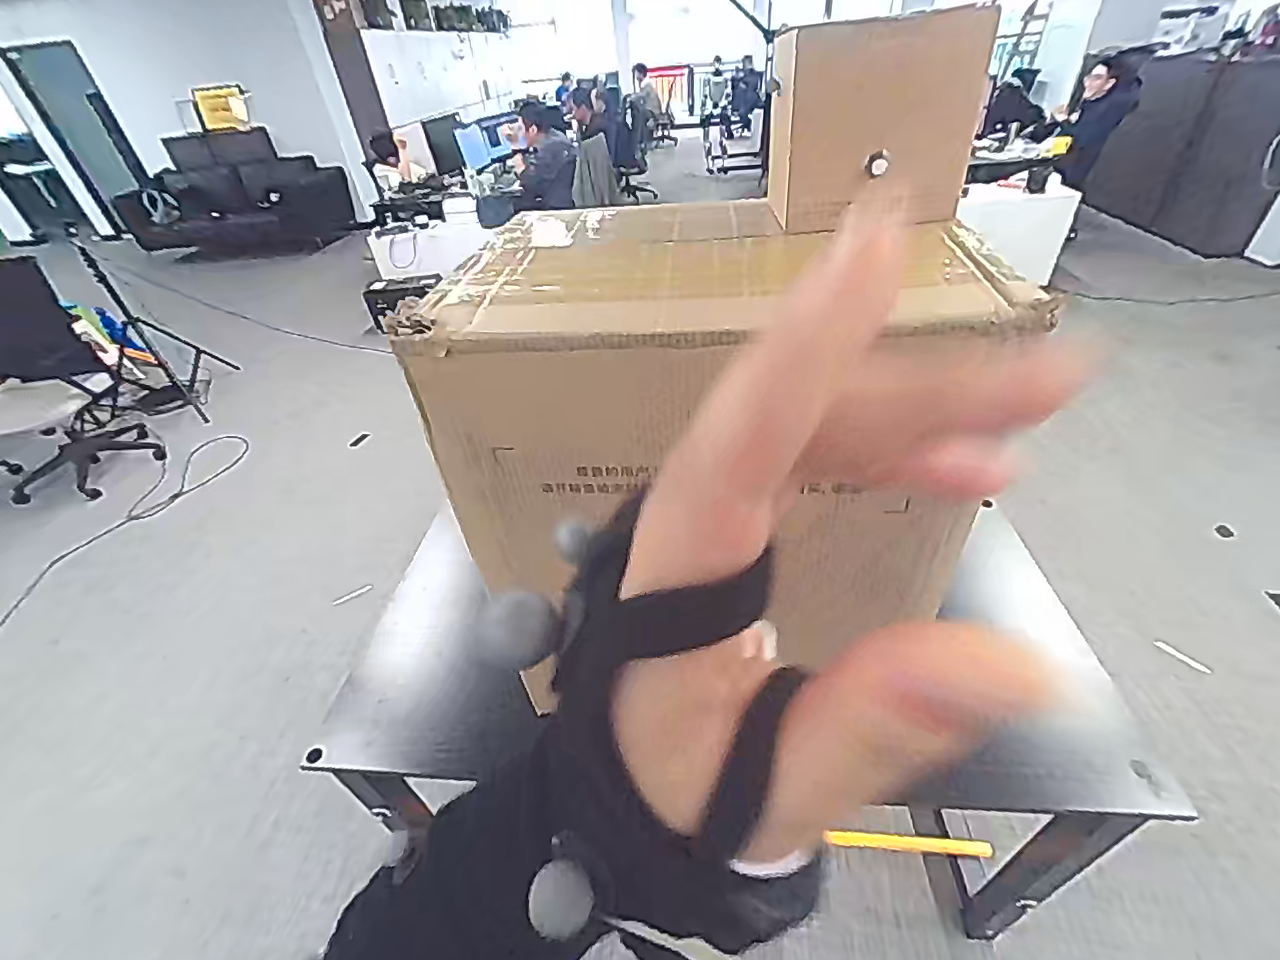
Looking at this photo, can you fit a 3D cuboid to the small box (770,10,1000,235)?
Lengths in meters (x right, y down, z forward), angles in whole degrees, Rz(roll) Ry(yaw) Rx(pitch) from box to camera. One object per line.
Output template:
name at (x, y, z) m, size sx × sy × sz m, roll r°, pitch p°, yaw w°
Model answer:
small box at (0.230, -0.364, 0.566) m, size 0.168 × 0.176 × 0.179 m, roll -2°, pitch 36°, yaw 7°
